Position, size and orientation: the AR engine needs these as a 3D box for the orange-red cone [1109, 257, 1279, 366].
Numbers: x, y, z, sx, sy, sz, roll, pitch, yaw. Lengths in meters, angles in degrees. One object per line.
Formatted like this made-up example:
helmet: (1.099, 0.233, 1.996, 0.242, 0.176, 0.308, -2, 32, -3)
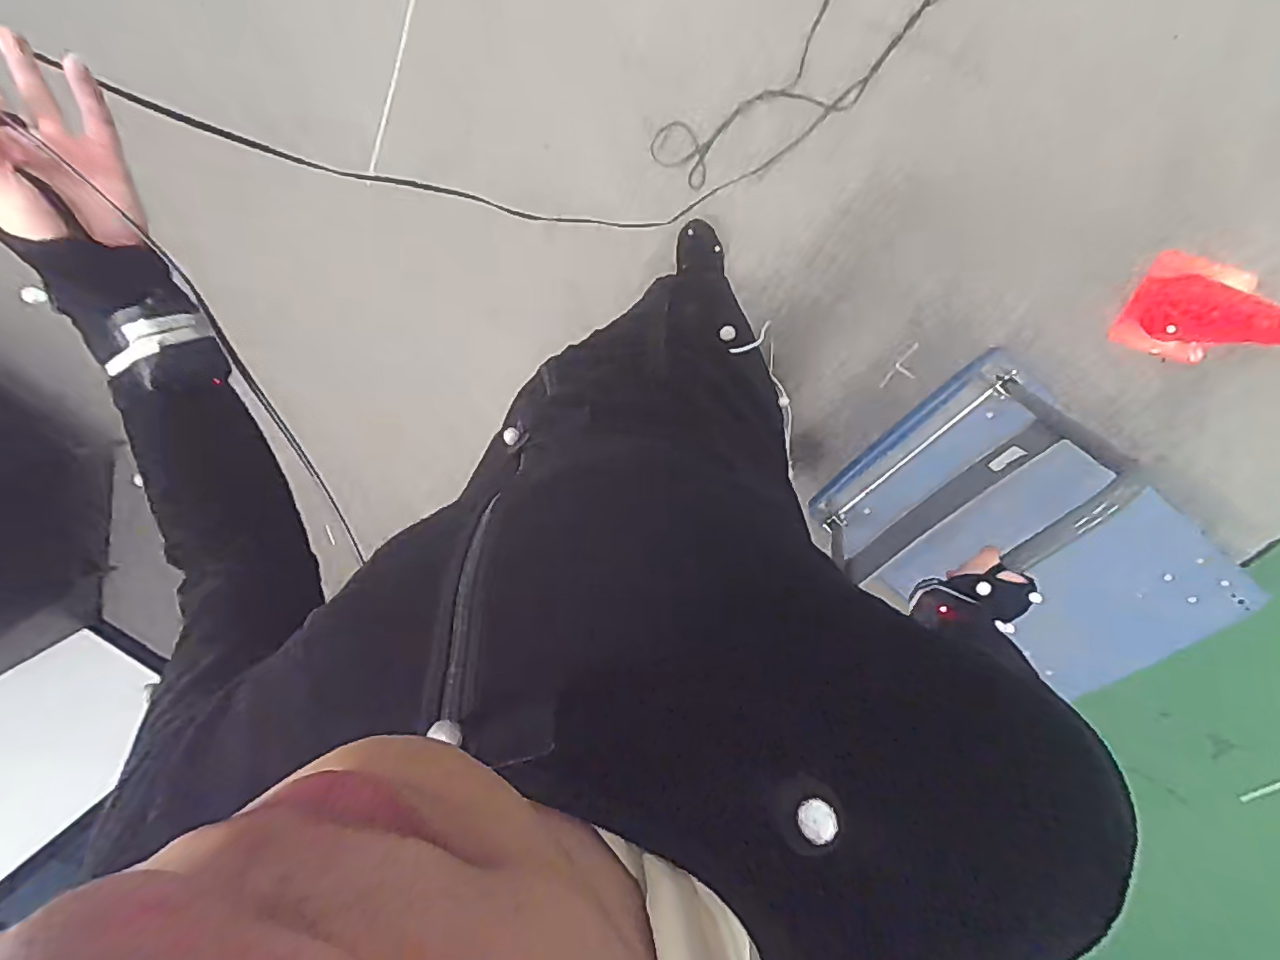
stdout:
orange-red cone: (1.148, -0.303, 1.042, 0.198, 0.360, 0.199, 21, 116, 5)
